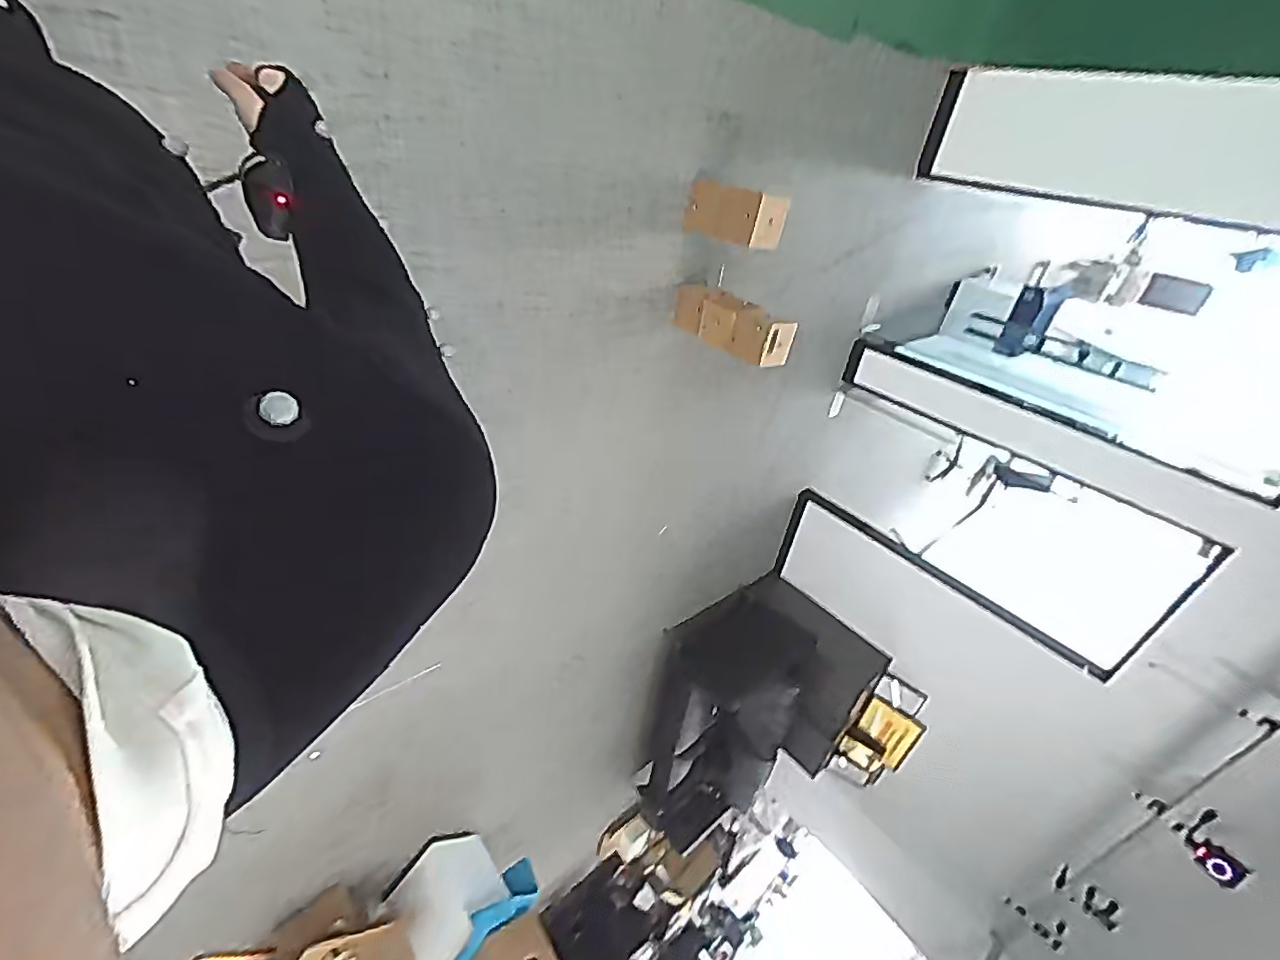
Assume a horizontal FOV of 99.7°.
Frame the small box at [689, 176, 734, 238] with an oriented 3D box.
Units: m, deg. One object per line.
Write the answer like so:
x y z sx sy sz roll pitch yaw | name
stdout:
0.308 -1.022 2.031 0.168 0.176 0.179 -17 131 -38 | small box

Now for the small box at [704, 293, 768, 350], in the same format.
0.376 -0.633 2.151 0.179 0.176 0.168 -22 134 -35 | small box

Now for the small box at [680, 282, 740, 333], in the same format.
0.286 -0.722 2.253 0.168 0.176 0.179 -18 132 -37 | small box

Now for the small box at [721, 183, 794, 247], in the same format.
0.415 -0.948 1.929 0.168 0.176 0.179 -16 130 -38 | small box
